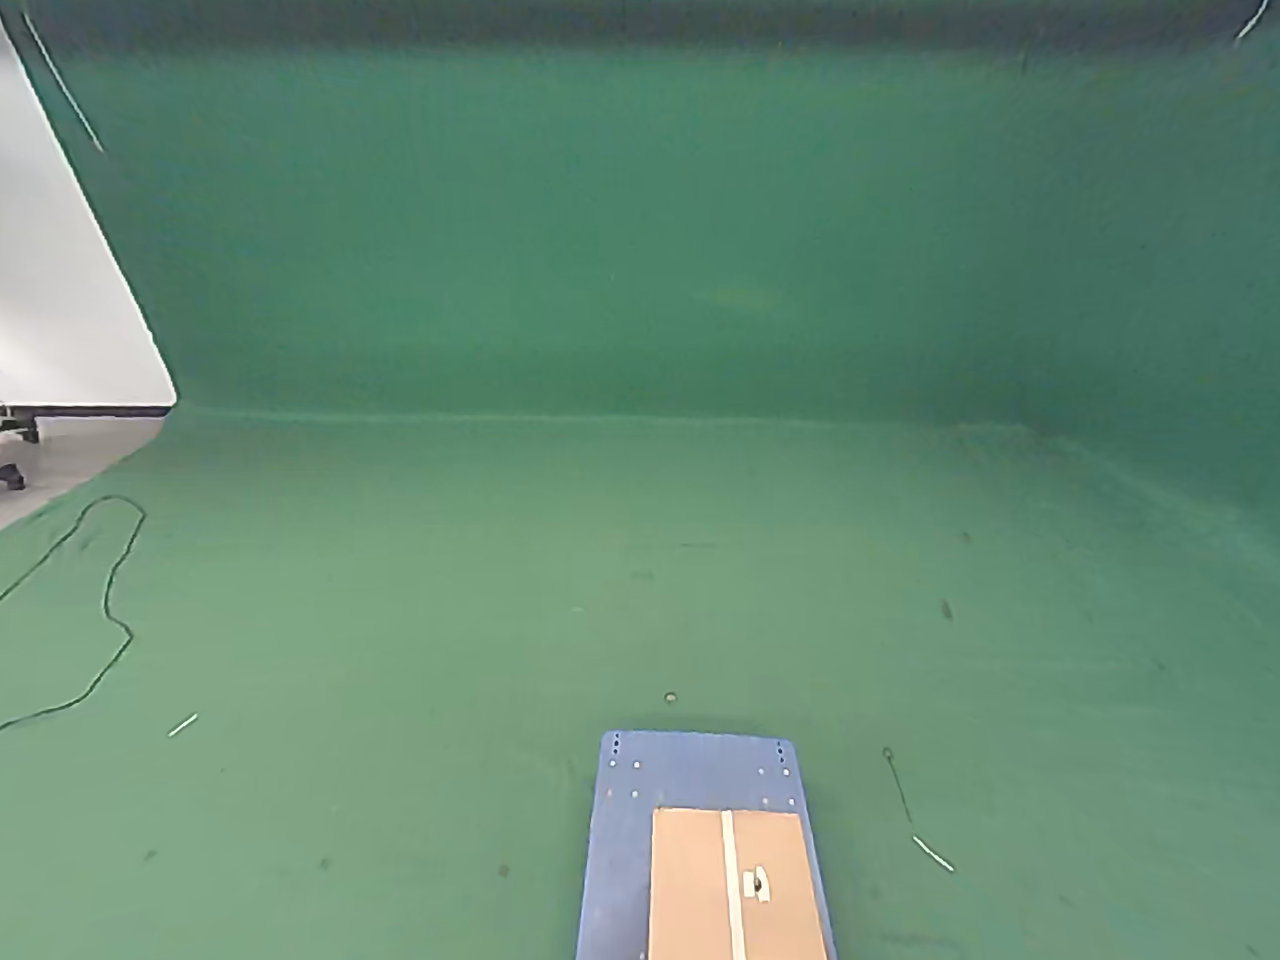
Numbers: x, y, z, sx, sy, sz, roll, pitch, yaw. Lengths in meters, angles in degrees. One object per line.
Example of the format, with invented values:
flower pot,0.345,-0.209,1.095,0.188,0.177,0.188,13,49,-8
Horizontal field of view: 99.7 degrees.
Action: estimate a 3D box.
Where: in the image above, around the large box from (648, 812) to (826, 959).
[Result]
large box,0.172,0.941,1.055,0.320,0.320,0.408,2,30,2
